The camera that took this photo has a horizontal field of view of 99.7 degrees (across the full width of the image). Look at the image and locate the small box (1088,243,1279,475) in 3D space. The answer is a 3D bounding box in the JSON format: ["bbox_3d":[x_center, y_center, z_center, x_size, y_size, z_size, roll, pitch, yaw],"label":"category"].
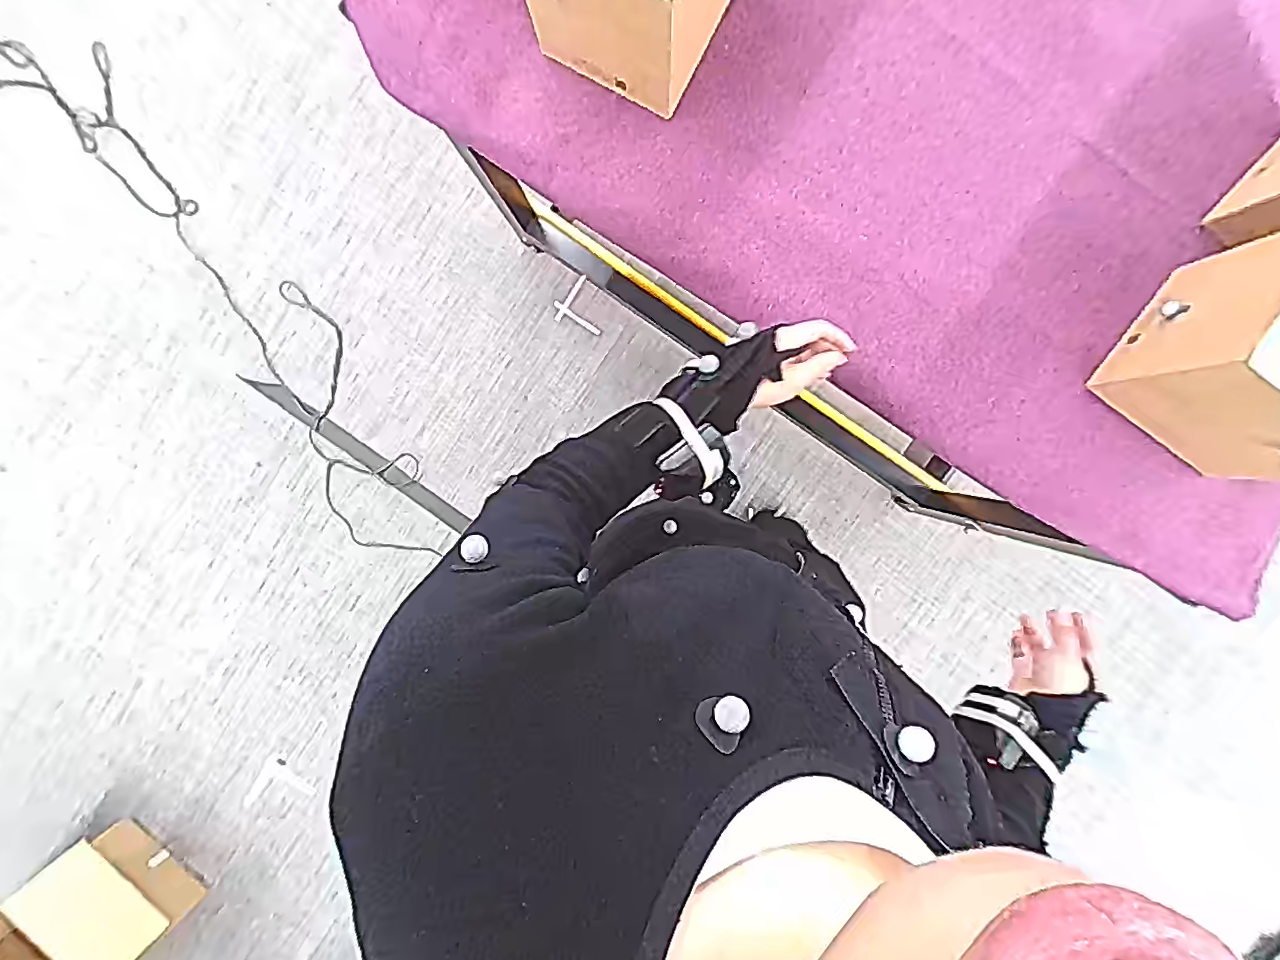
[{"bbox_3d":[0.616,-0.117,0.530,0.179,0.176,0.168,37,93,0],"label":"small box"}]

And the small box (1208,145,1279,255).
[{"bbox_3d":[0.730,-0.281,0.514,0.179,0.176,0.168,41,96,-2],"label":"small box"}]
